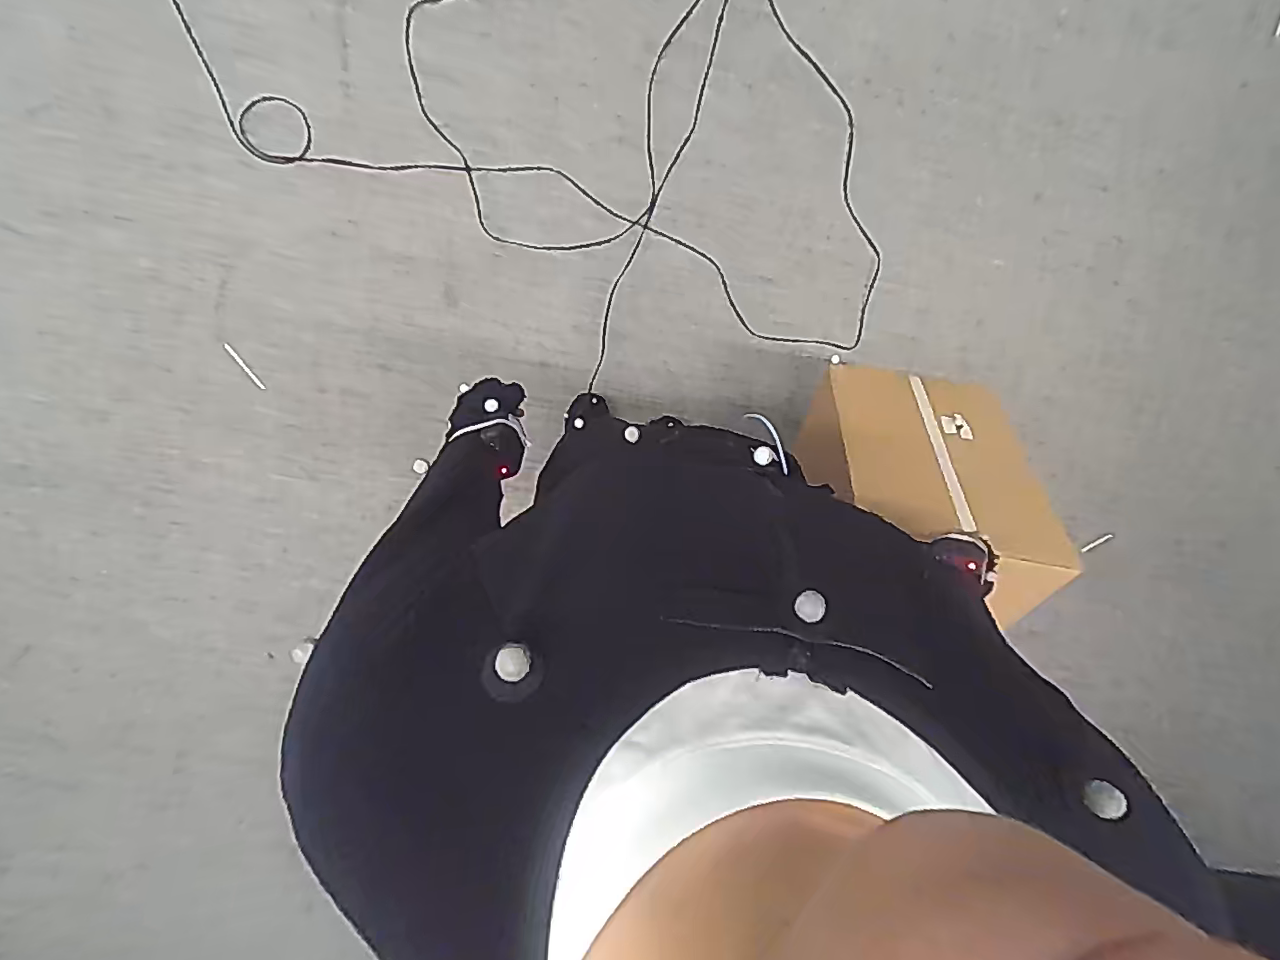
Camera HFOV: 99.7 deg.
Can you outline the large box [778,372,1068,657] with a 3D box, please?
[{"bbox_3d":[0.459,0.061,1.001,0.320,0.408,0.320,10,136,-1],"label":"large box"}]
